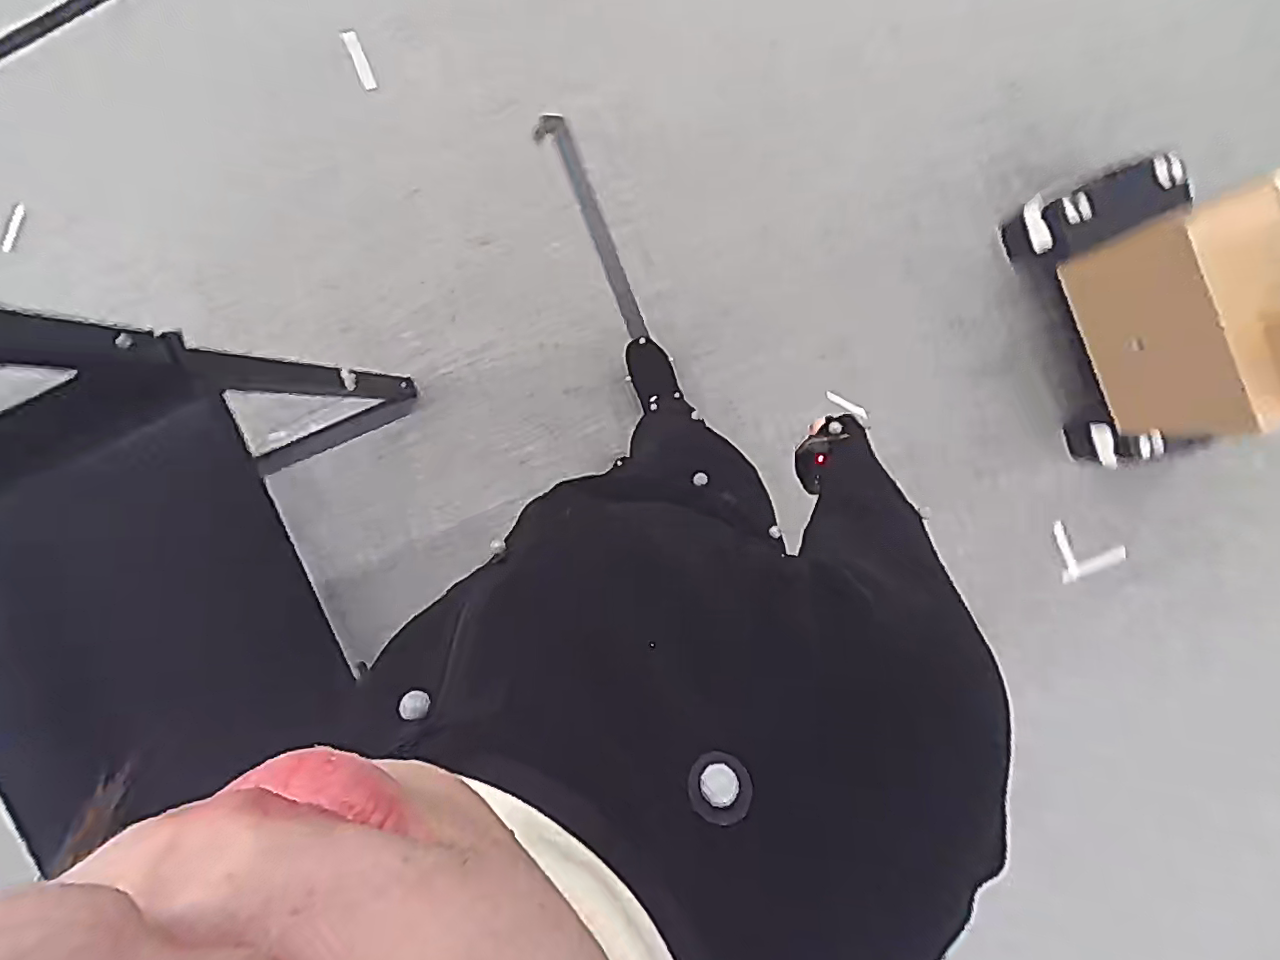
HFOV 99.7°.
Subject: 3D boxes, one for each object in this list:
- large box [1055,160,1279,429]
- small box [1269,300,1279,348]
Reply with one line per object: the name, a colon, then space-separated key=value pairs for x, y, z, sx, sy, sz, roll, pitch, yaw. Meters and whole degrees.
large box: x=1.130 y=-0.344 z=1.054 sx=0.320 sy=0.320 sz=0.408 roll=-25 pitch=93 yaw=4
small box: x=1.142 y=-0.229 z=0.819 sx=0.168 sy=0.176 sz=0.179 roll=-22 pitch=94 yaw=5
